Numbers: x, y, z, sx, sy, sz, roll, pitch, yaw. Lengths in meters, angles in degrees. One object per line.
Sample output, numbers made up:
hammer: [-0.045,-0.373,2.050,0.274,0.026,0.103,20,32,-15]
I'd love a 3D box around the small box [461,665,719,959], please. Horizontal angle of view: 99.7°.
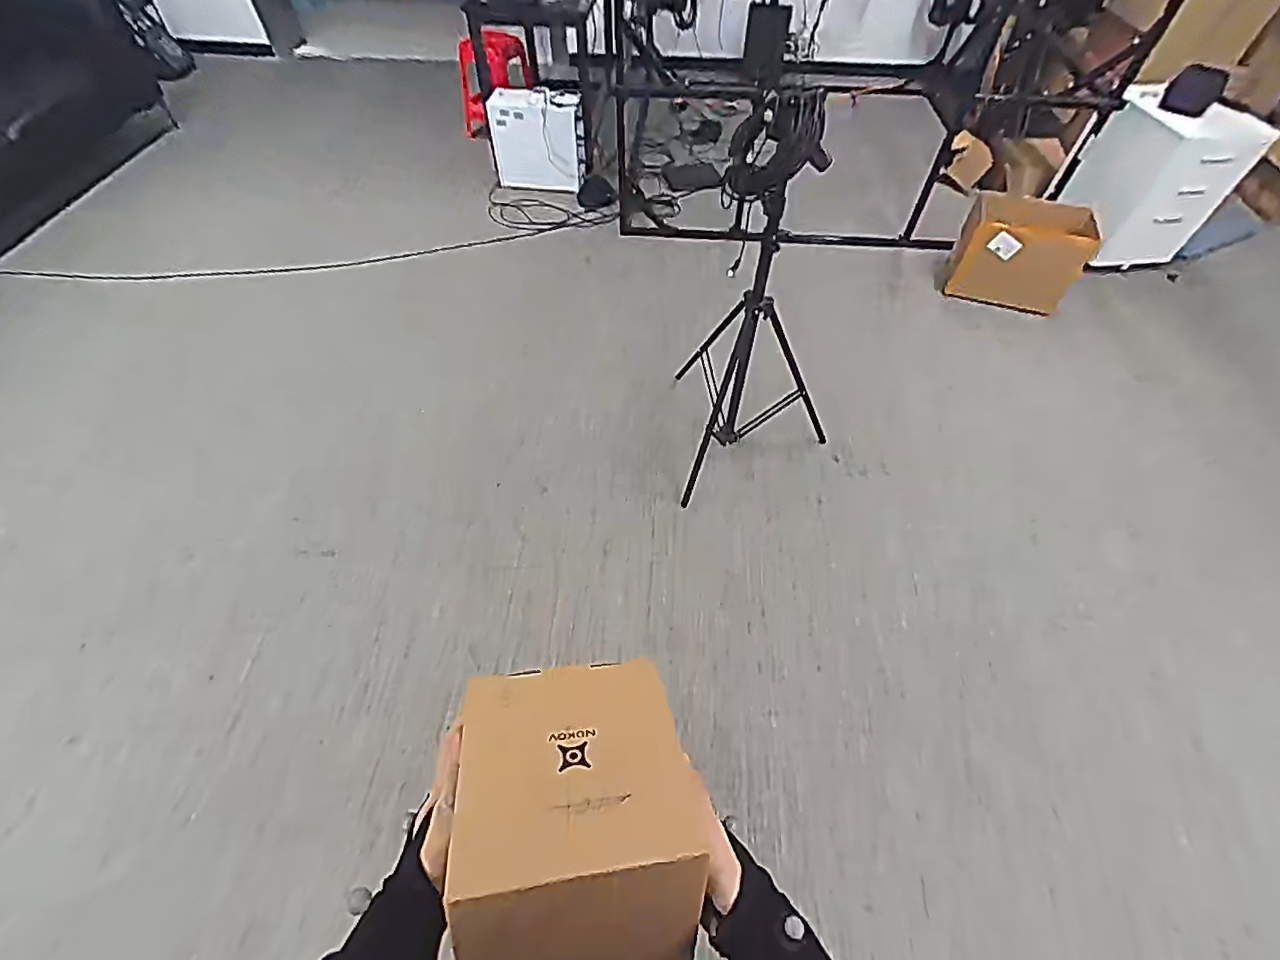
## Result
small box: [-0.049,0.282,0.443,0.168,0.176,0.179,-2,26,-12]
